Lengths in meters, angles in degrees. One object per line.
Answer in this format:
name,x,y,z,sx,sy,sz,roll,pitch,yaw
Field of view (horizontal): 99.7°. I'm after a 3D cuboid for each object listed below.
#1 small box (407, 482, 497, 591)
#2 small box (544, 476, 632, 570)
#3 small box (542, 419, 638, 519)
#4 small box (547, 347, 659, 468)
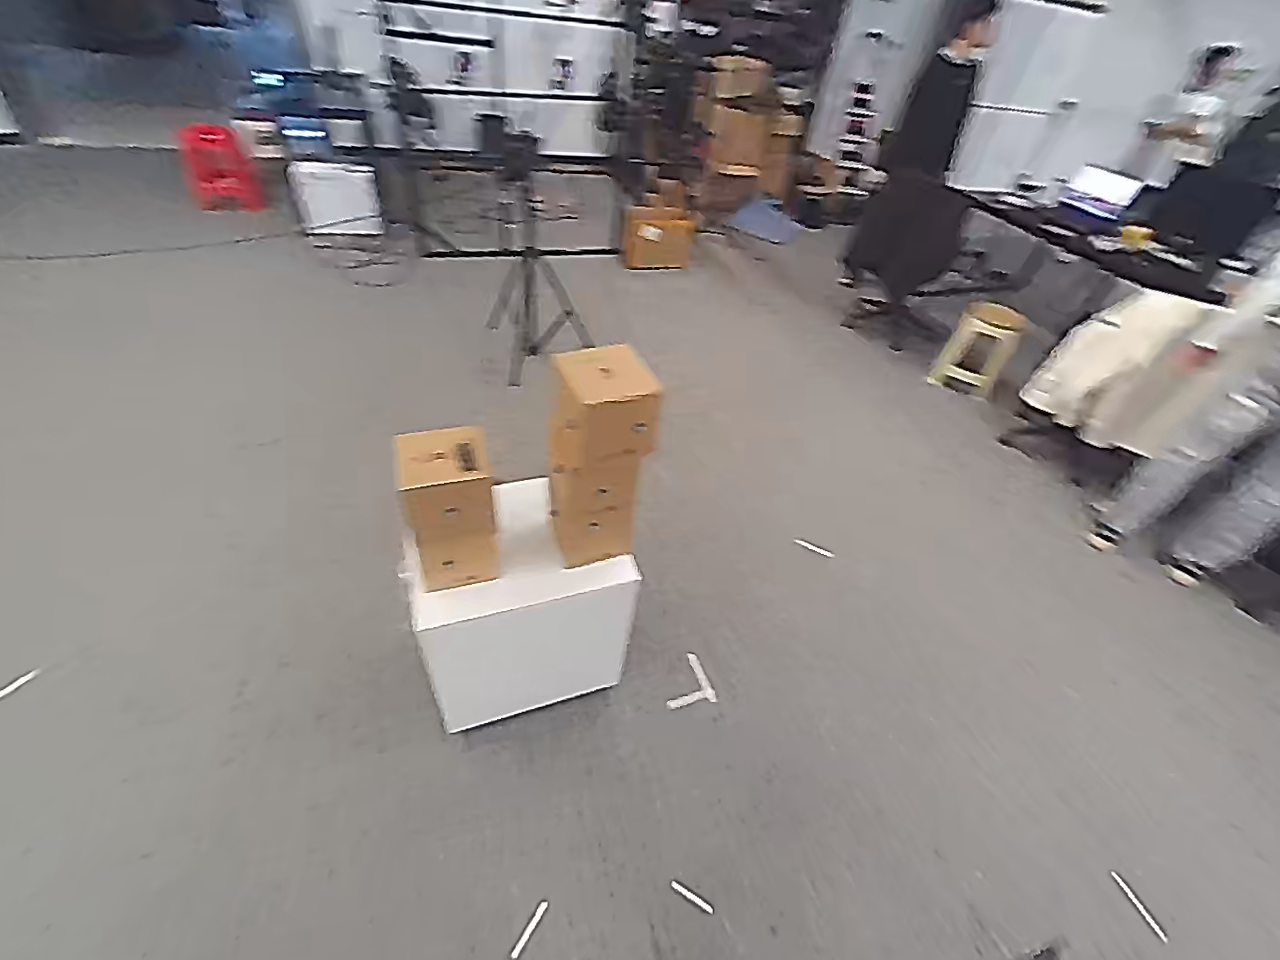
small box,-0.424,0.133,1.224,0.168,0.176,0.179,-9,46,-19
small box,-0.132,0.088,1.316,0.168,0.176,0.179,-13,47,-20
small box,-0.115,-0.031,1.202,0.168,0.176,0.179,-11,47,-20
small box,-0.079,-0.142,1.087,0.168,0.176,0.179,-15,48,-23
